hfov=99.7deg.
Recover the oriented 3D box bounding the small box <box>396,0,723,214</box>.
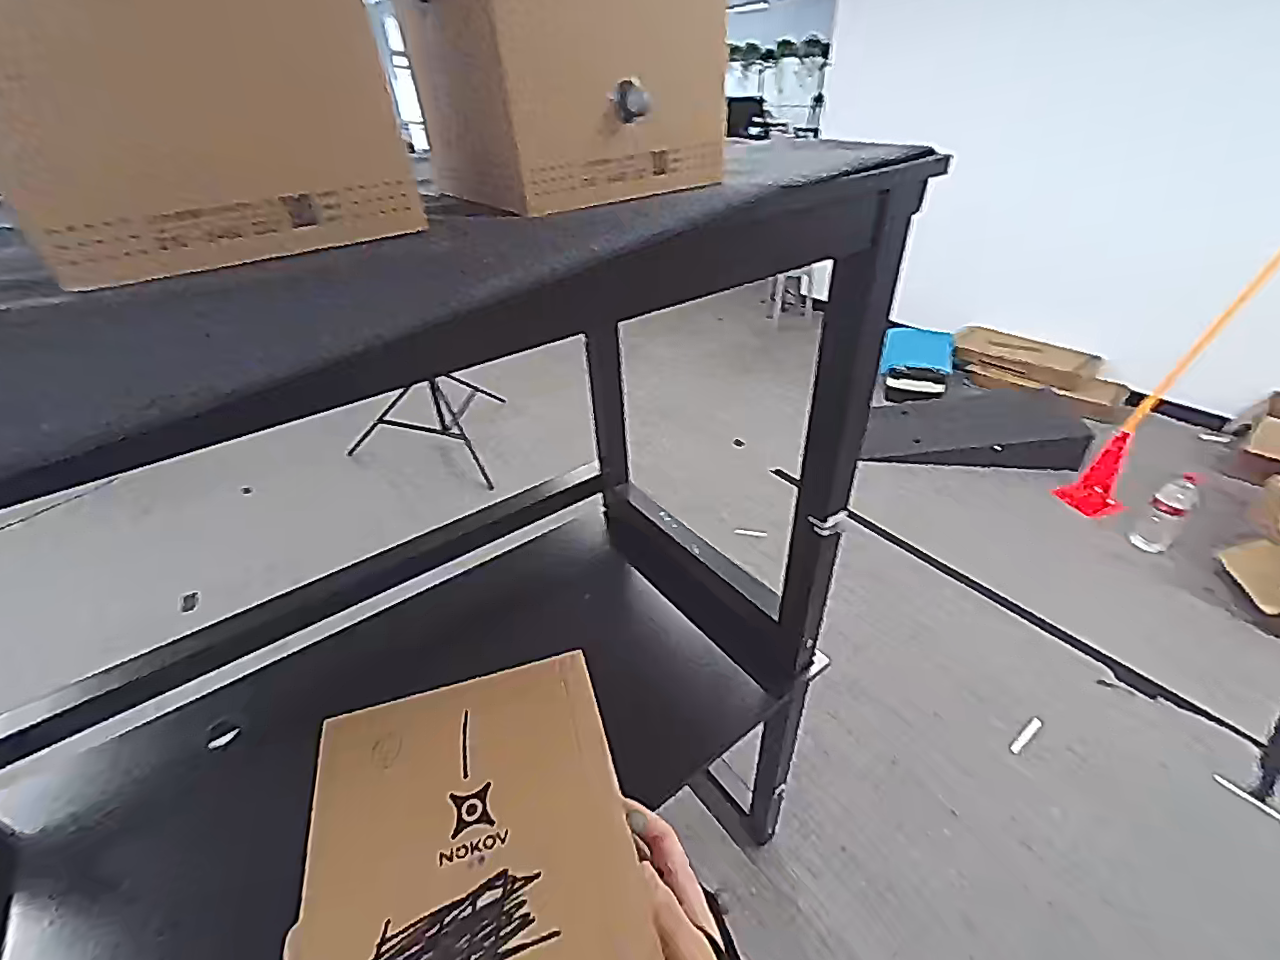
[{"bbox_3d":[-0.060,-0.295,0.382,0.168,0.176,0.179,-26,41,-26],"label":"small box"}]
